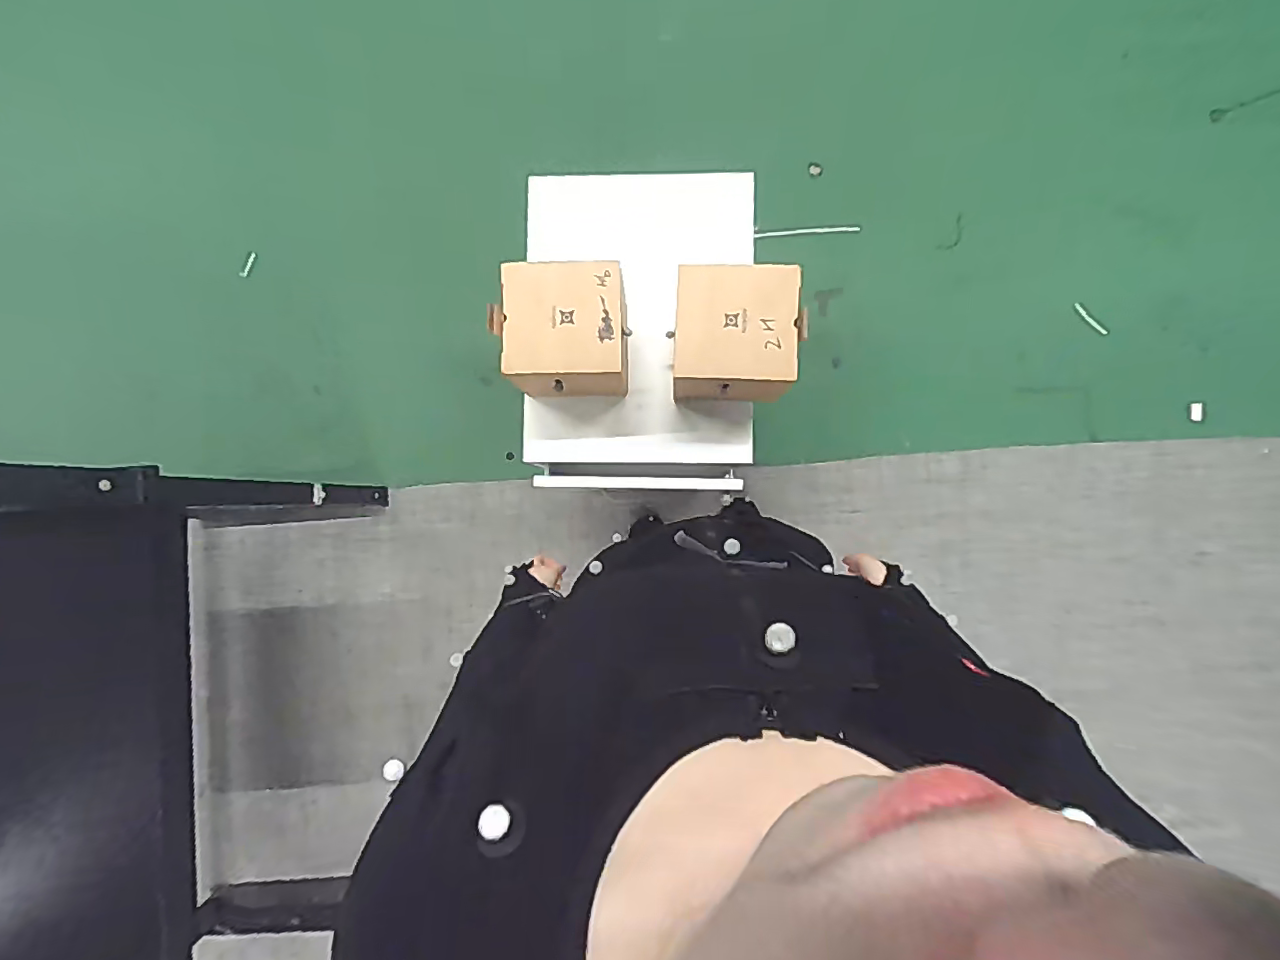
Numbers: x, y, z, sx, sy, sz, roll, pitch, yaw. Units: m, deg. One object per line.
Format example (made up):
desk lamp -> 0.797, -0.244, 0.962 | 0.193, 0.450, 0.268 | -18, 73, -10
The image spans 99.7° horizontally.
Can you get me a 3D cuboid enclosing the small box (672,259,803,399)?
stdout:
small box -> 0.139, -0.220, 0.825 | 0.179, 0.176, 0.168 | 2, 88, 3
